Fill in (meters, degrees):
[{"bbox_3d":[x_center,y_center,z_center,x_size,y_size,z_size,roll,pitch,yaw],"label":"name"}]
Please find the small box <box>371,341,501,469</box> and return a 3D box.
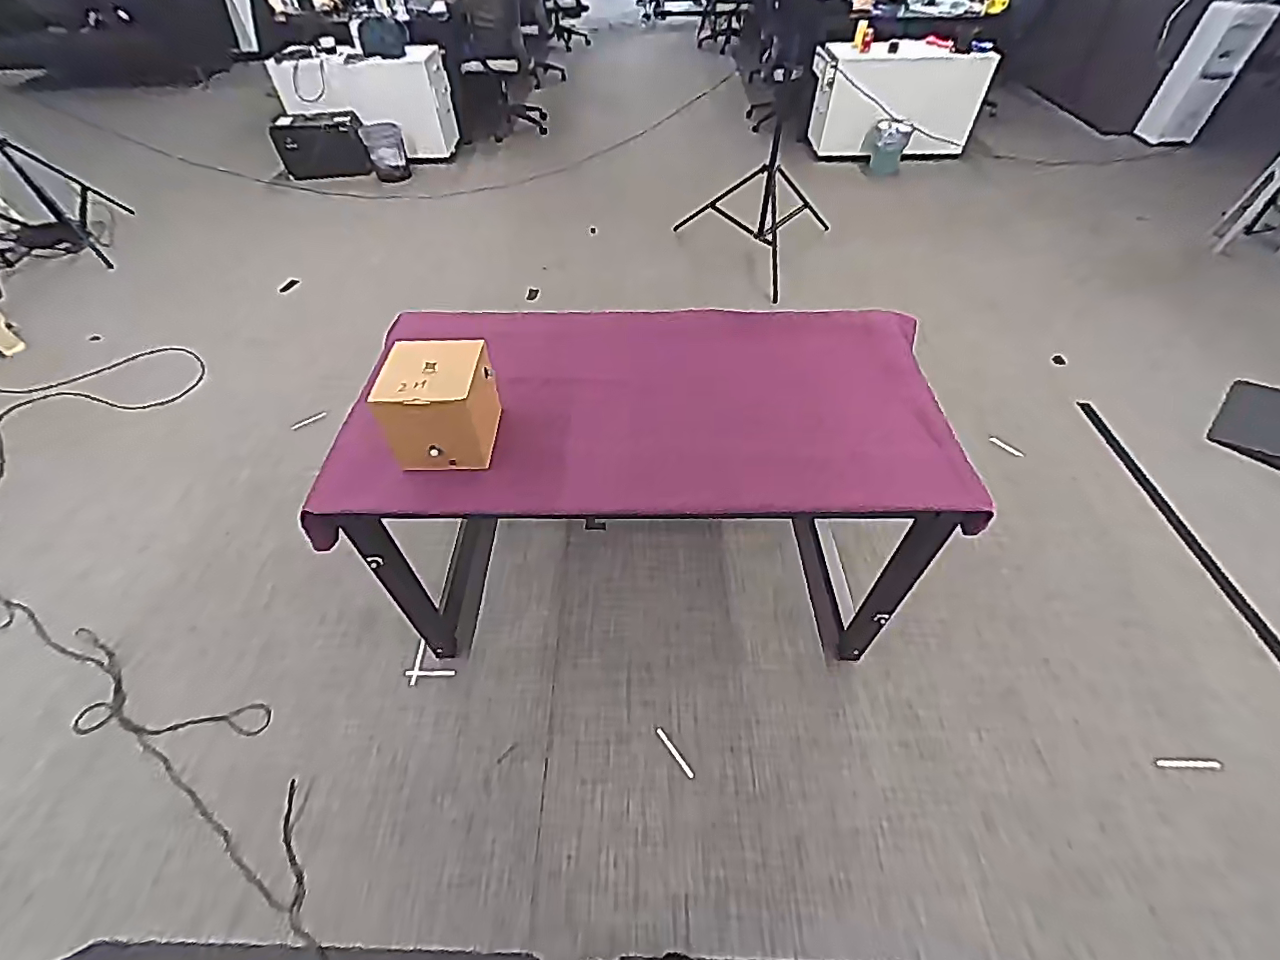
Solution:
[{"bbox_3d":[-0.362,-0.138,1.001,0.168,0.176,0.179,-1,49,0],"label":"small box"}]
